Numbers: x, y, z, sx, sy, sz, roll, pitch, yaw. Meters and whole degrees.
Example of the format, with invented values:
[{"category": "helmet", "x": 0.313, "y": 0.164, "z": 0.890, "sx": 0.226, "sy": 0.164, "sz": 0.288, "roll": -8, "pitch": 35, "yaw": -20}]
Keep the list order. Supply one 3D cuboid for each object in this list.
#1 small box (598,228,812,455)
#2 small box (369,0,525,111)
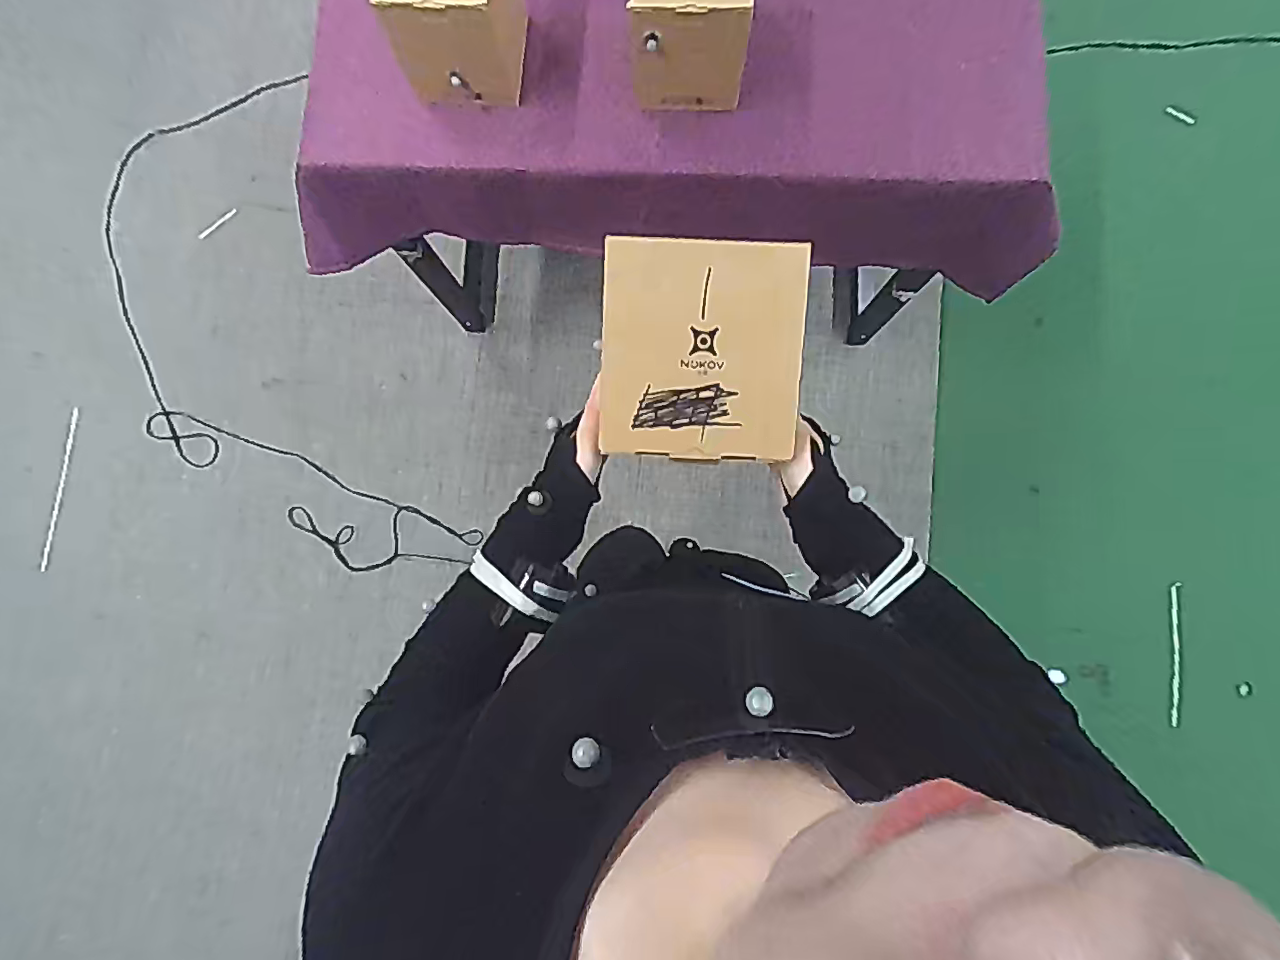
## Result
[{"category": "small box", "x": 0.052, "y": -0.122, "z": 0.515, "sx": 0.168, "sy": 0.176, "sz": 0.179, "roll": 2, "pitch": 98, "yaw": 1}, {"category": "small box", "x": -0.278, "y": -0.708, "z": 0.821, "sx": 0.168, "sy": 0.176, "sz": 0.179, "roll": 4, "pitch": 83, "yaw": 3}]
